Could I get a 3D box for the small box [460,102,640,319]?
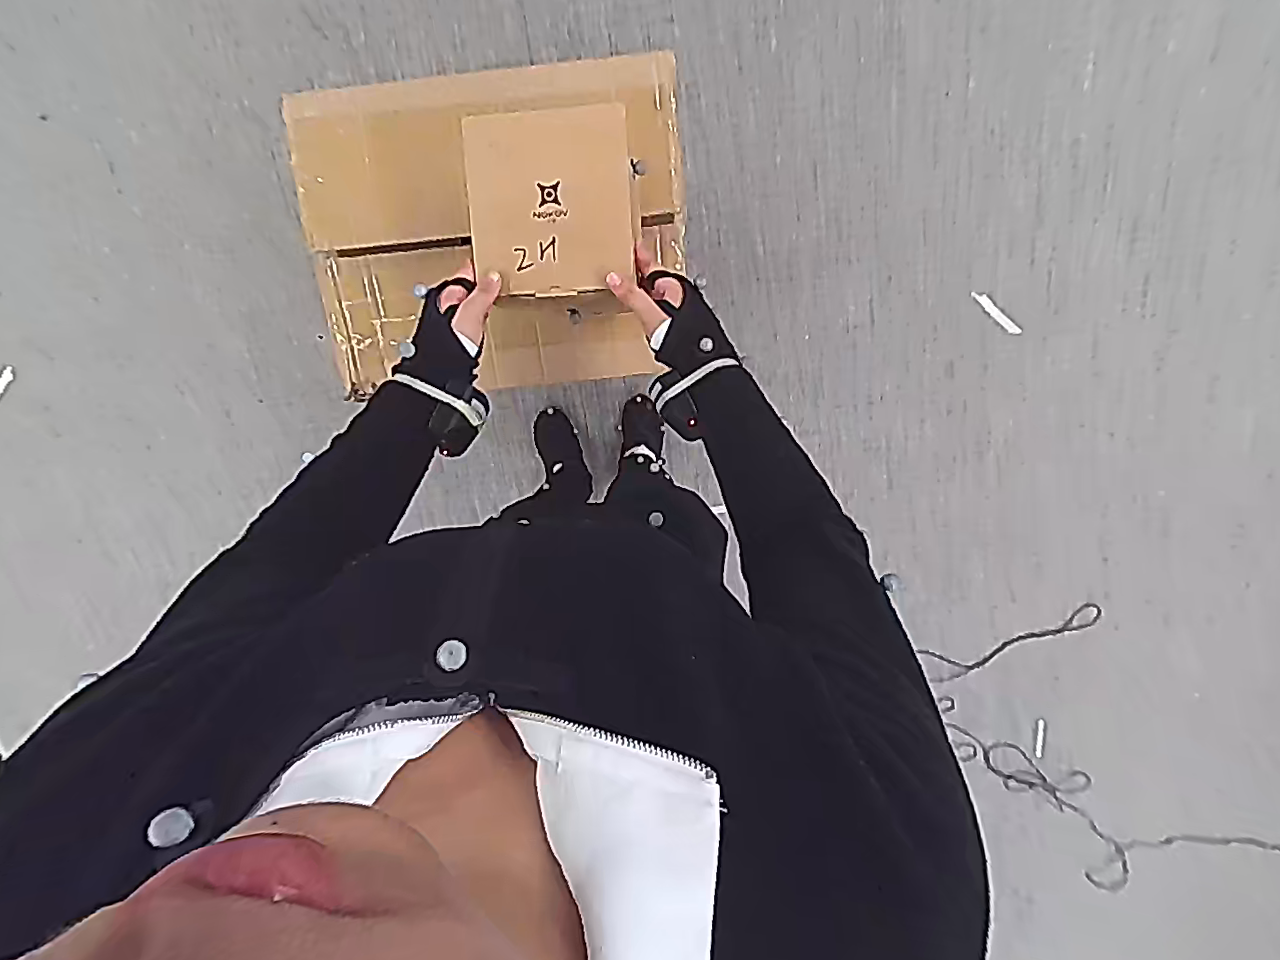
[{"bbox_3d":[-0.089,-0.288,0.616,0.168,0.176,0.179,-2,99,4],"label":"small box"}]
